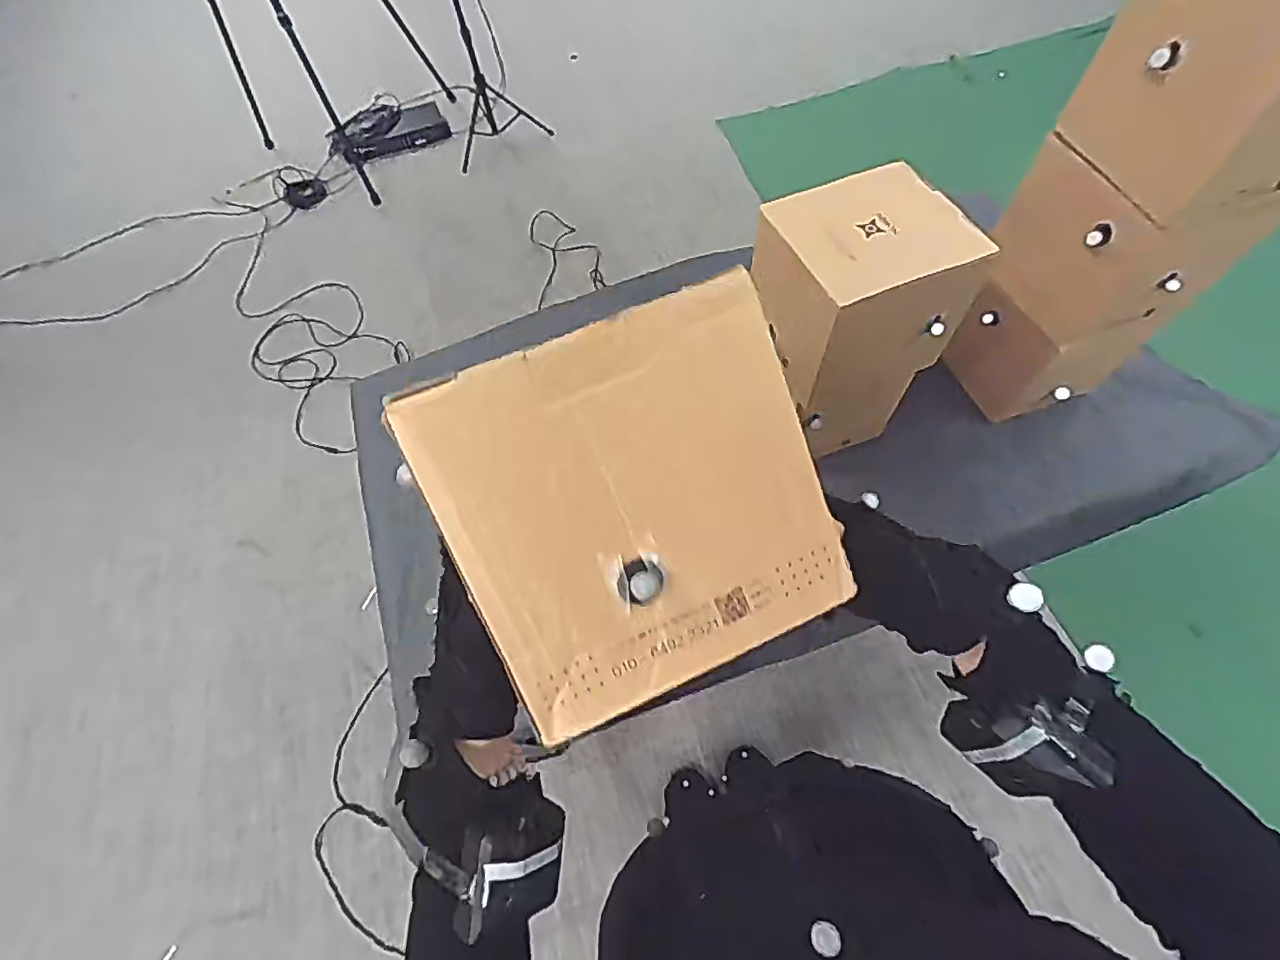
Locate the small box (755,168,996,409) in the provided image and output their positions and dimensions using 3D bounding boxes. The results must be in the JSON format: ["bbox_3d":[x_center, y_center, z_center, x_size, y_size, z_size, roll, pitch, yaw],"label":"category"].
[{"bbox_3d":[0.243,-0.210,0.618,0.179,0.176,0.168,-20,61,-6],"label":"small box"}]

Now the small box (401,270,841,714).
[{"bbox_3d":[-0.012,0.003,0.328,0.168,0.179,0.176,-23,99,-8],"label":"small box"}]

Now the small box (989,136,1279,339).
[{"bbox_3d":[0.555,-0.287,0.630,0.168,0.176,0.179,-16,62,-4],"label":"small box"}]
